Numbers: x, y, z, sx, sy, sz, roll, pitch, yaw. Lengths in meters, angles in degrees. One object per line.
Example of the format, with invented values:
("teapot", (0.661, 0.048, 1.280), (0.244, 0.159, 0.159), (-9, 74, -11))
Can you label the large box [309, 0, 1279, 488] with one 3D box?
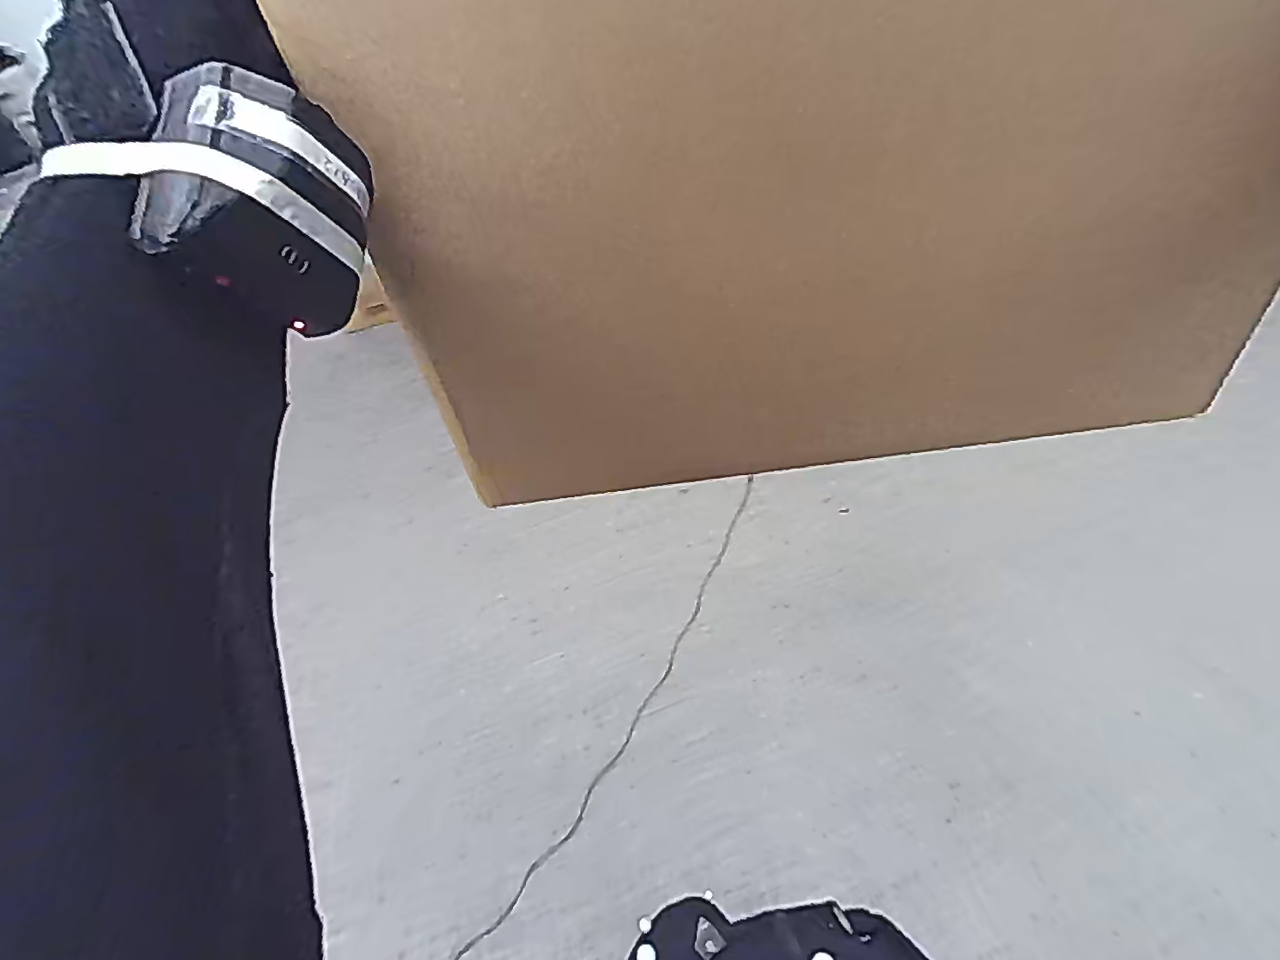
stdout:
("large box", (0.081, -0.223, 0.341), (0.408, 0.320, 0.320), (-7, 39, 3))
